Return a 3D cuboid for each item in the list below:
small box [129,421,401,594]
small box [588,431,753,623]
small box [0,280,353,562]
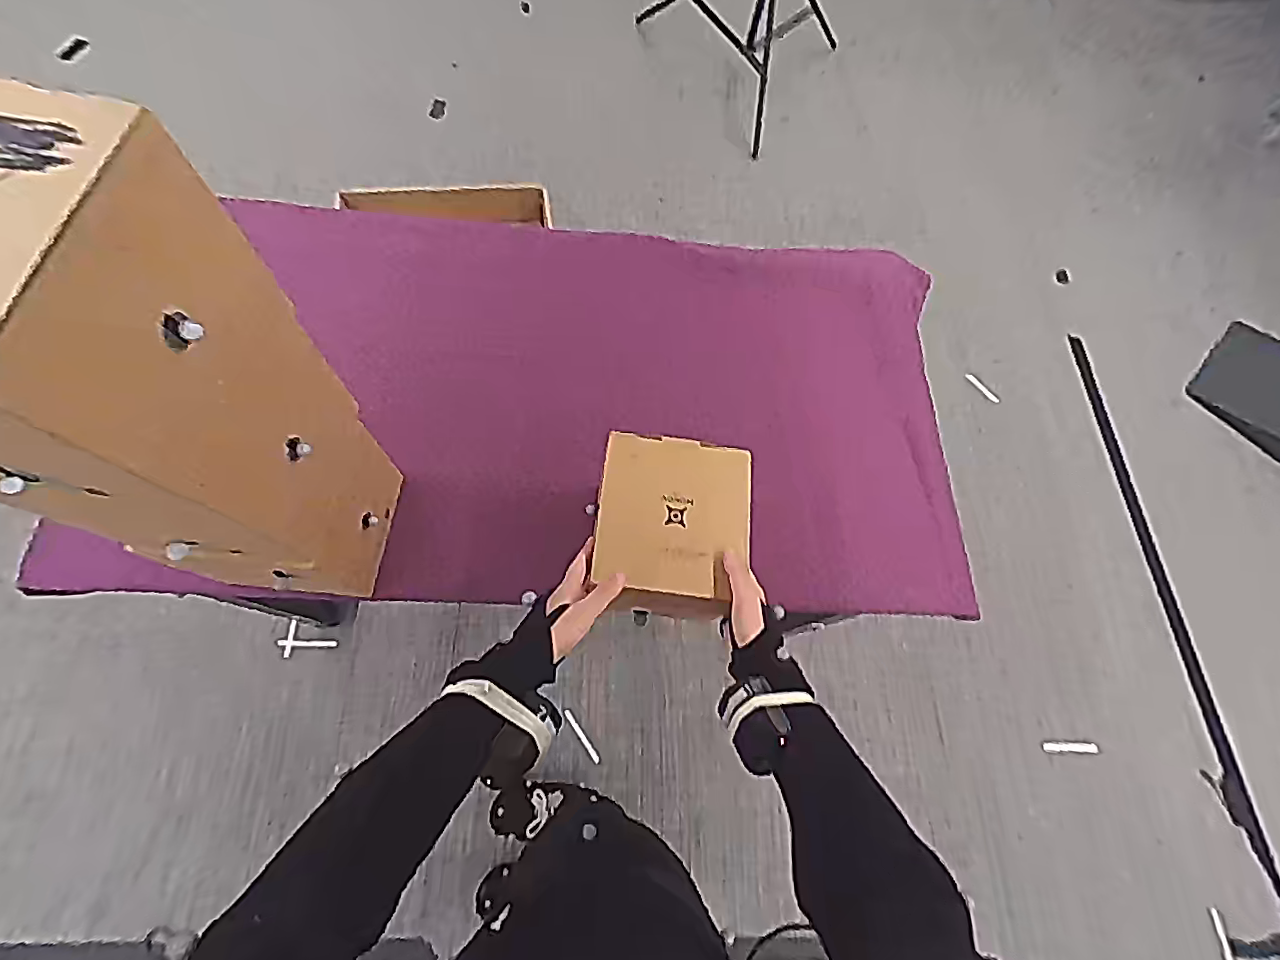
[{"bbox_3d":[-0.398,0.031,0.617,0.179,0.176,0.168,7,67,-4],"label":"small box"},{"bbox_3d":[0.030,0.065,0.650,0.168,0.176,0.179,8,68,-4],"label":"small box"},{"bbox_3d":[-0.377,-0.039,0.470,0.168,0.176,0.179,6,69,-4],"label":"small box"}]
